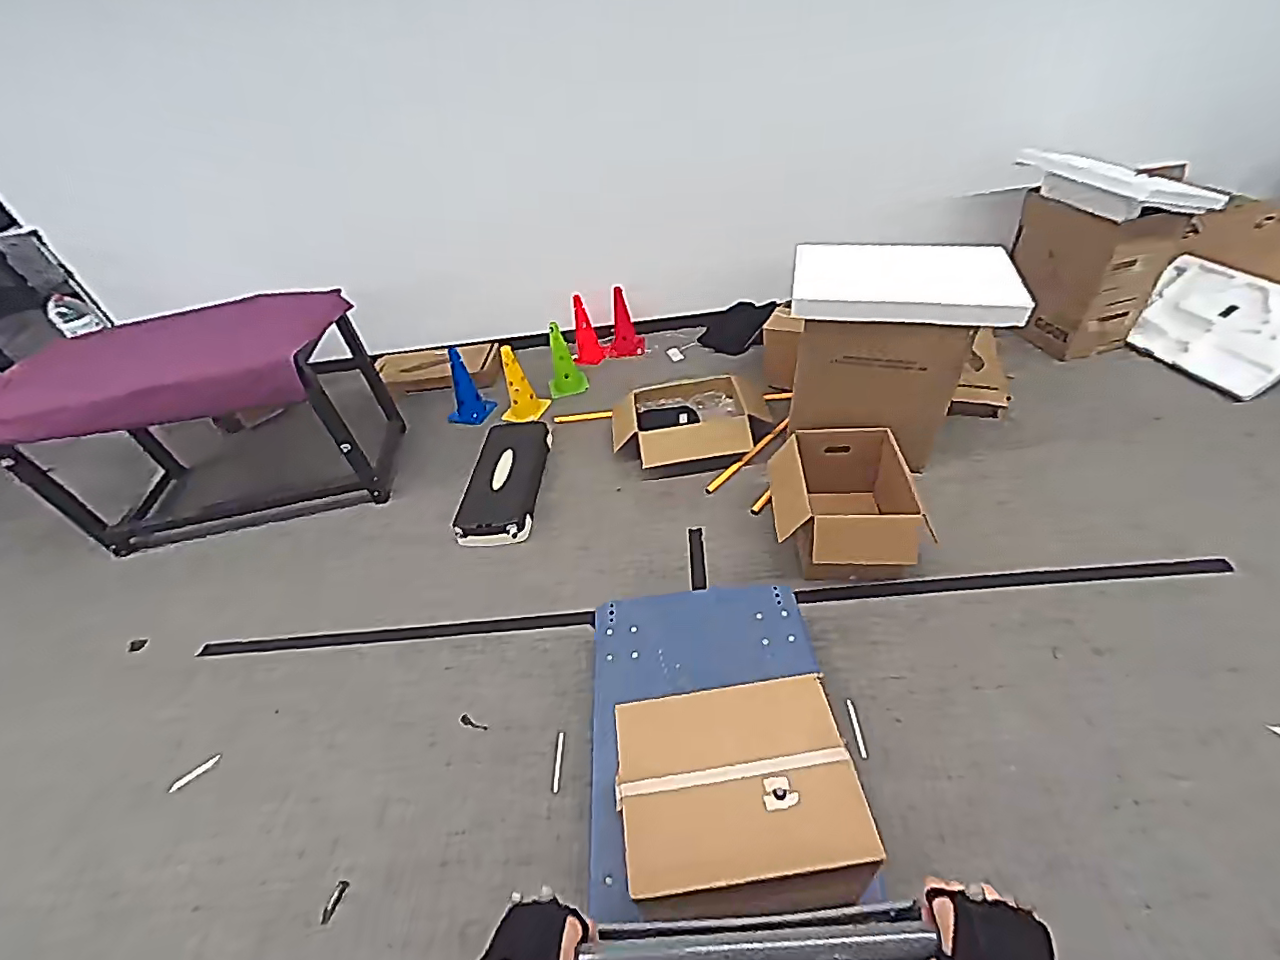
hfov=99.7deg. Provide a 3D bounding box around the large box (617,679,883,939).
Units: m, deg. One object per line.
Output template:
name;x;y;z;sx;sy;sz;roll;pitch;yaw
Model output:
large box;0.182;0.634;1.046;0.408;0.320;0.320;-9;42;-1
